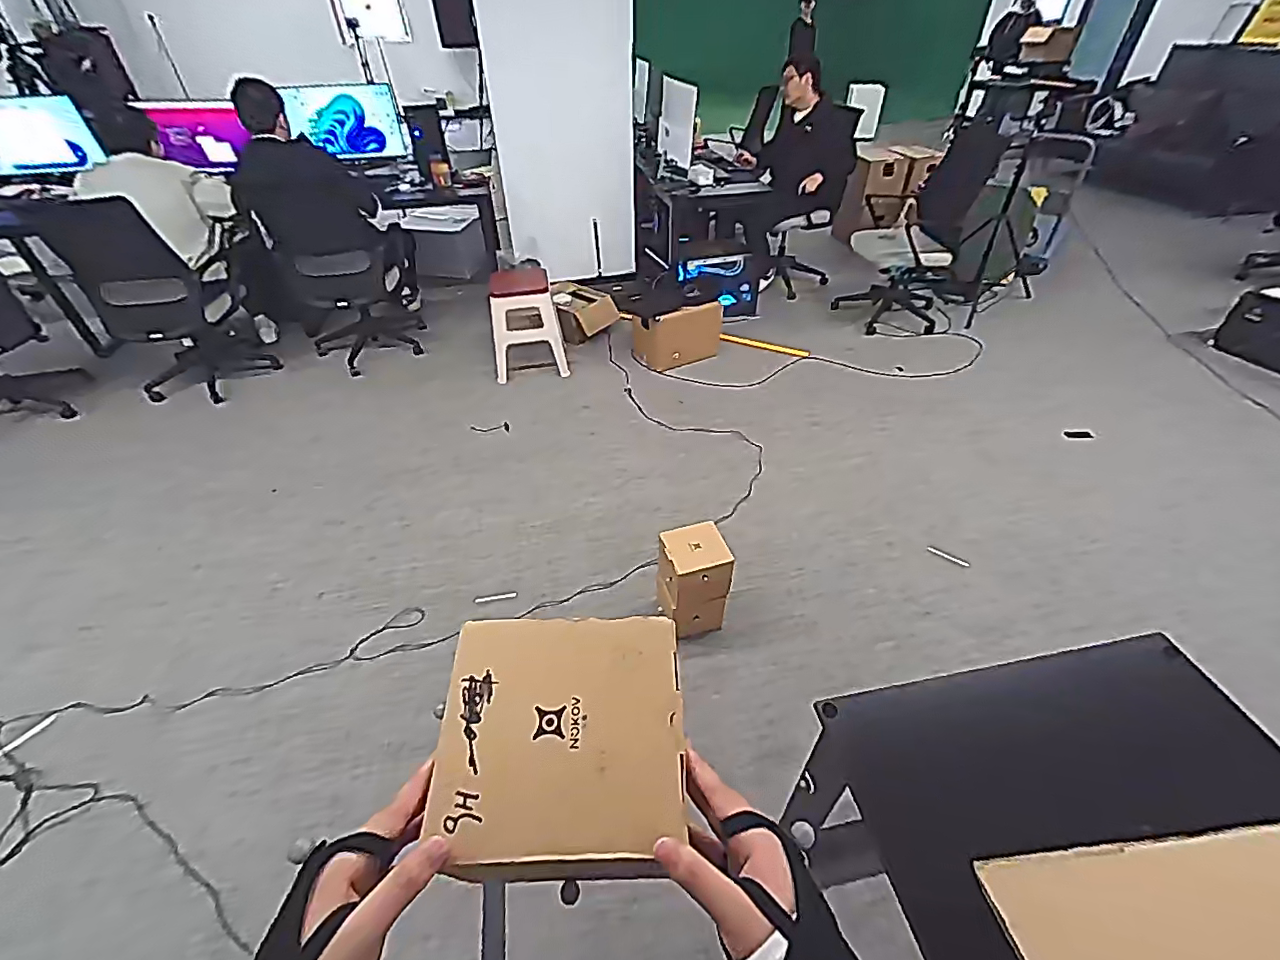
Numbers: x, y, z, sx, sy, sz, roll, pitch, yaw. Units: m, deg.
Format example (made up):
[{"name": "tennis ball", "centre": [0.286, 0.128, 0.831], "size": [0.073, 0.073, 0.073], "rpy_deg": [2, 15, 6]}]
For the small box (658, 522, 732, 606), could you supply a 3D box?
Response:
[{"name": "small box", "centre": [0.160, 0.257, 1.634], "size": [0.179, 0.176, 0.168], "rpy_deg": [-12, 43, -13]}]

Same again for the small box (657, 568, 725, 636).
[{"name": "small box", "centre": [0.157, 0.381, 1.740], "size": [0.179, 0.176, 0.168], "rpy_deg": [-12, 42, -10]}]

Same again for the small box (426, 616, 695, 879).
[{"name": "small box", "centre": [-0.056, 0.229, 0.460], "size": [0.179, 0.176, 0.168], "rpy_deg": [0, 49, -2]}]
